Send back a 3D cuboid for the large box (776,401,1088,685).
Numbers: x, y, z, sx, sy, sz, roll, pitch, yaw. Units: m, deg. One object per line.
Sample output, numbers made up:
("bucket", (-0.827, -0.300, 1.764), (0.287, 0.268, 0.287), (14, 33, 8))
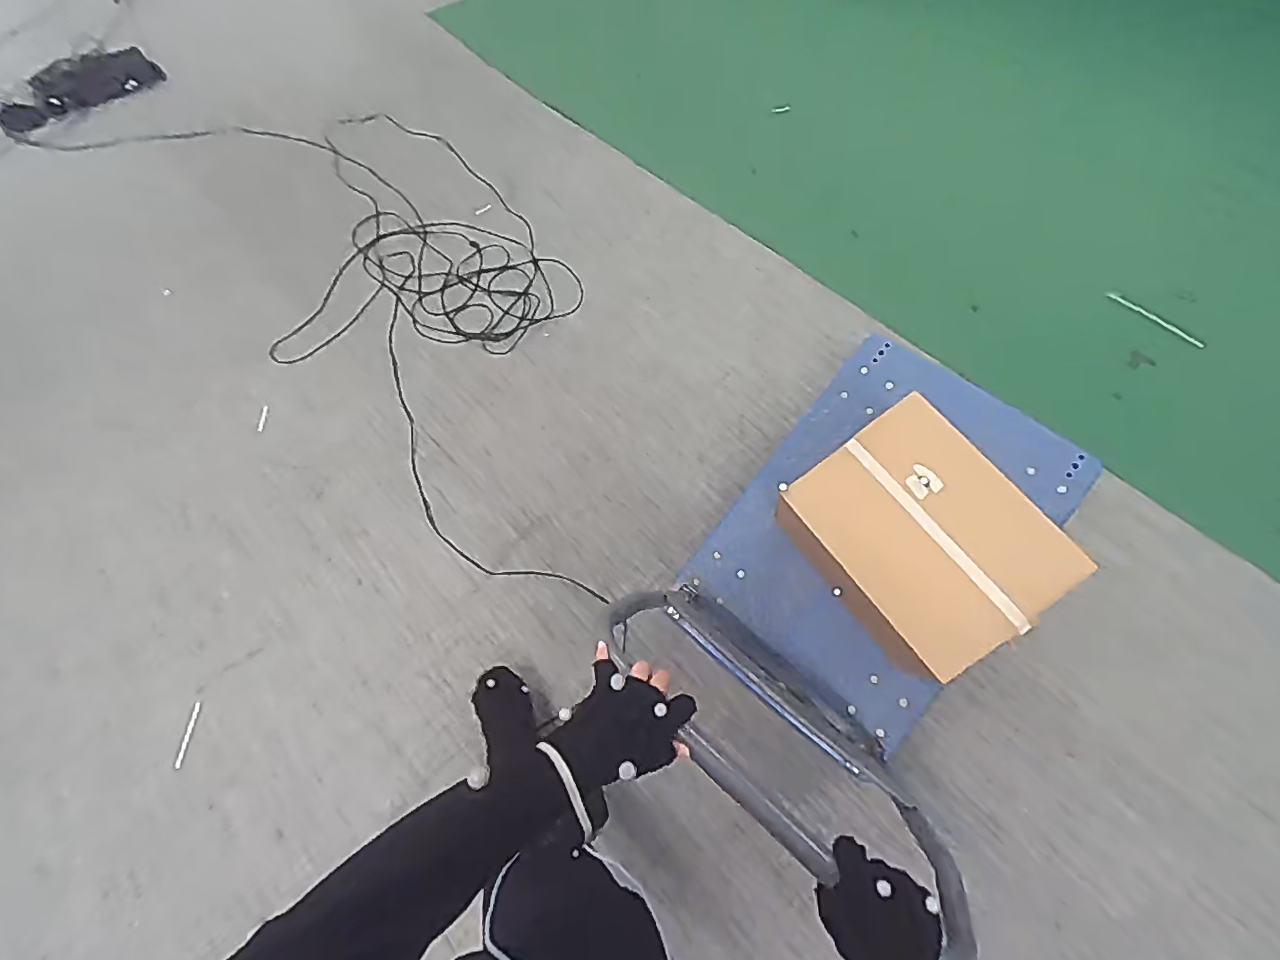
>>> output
("large box", (0.517, 0.128, 1.067), (0.320, 0.320, 0.408), (-37, 71, 1))
